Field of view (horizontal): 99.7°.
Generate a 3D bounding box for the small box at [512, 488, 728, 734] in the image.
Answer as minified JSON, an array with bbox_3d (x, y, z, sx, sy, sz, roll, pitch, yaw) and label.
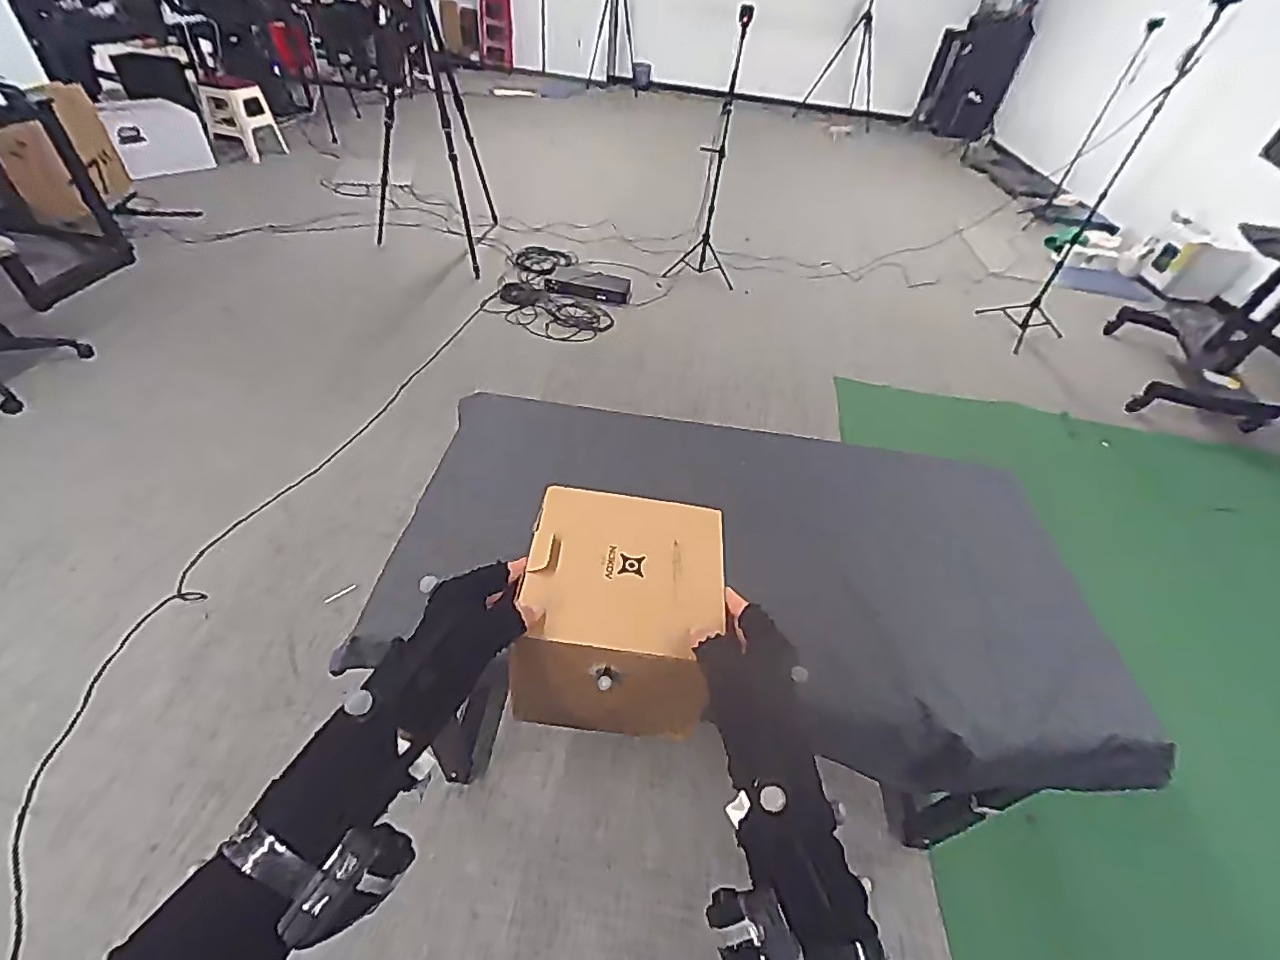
[{"bbox_3d":[-0.022,0.133,0.535,0.179,0.176,0.168,9,45,-4],"label":"small box"}]
